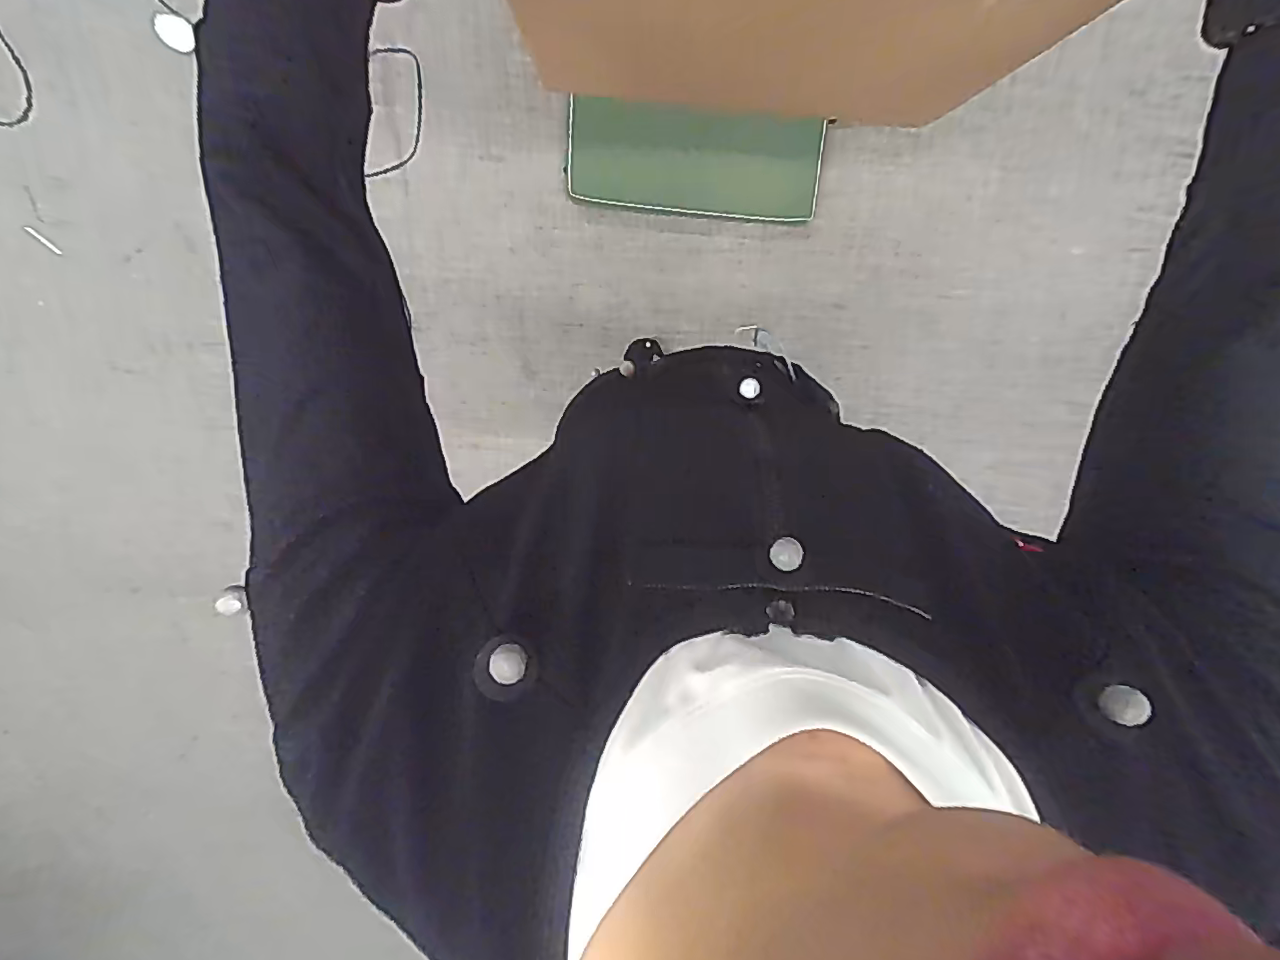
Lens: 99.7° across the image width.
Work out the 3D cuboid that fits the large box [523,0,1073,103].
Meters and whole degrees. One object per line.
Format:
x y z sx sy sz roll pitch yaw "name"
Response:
0.113 -0.498 0.371 0.408 0.320 0.320 3 109 -2 "large box"
